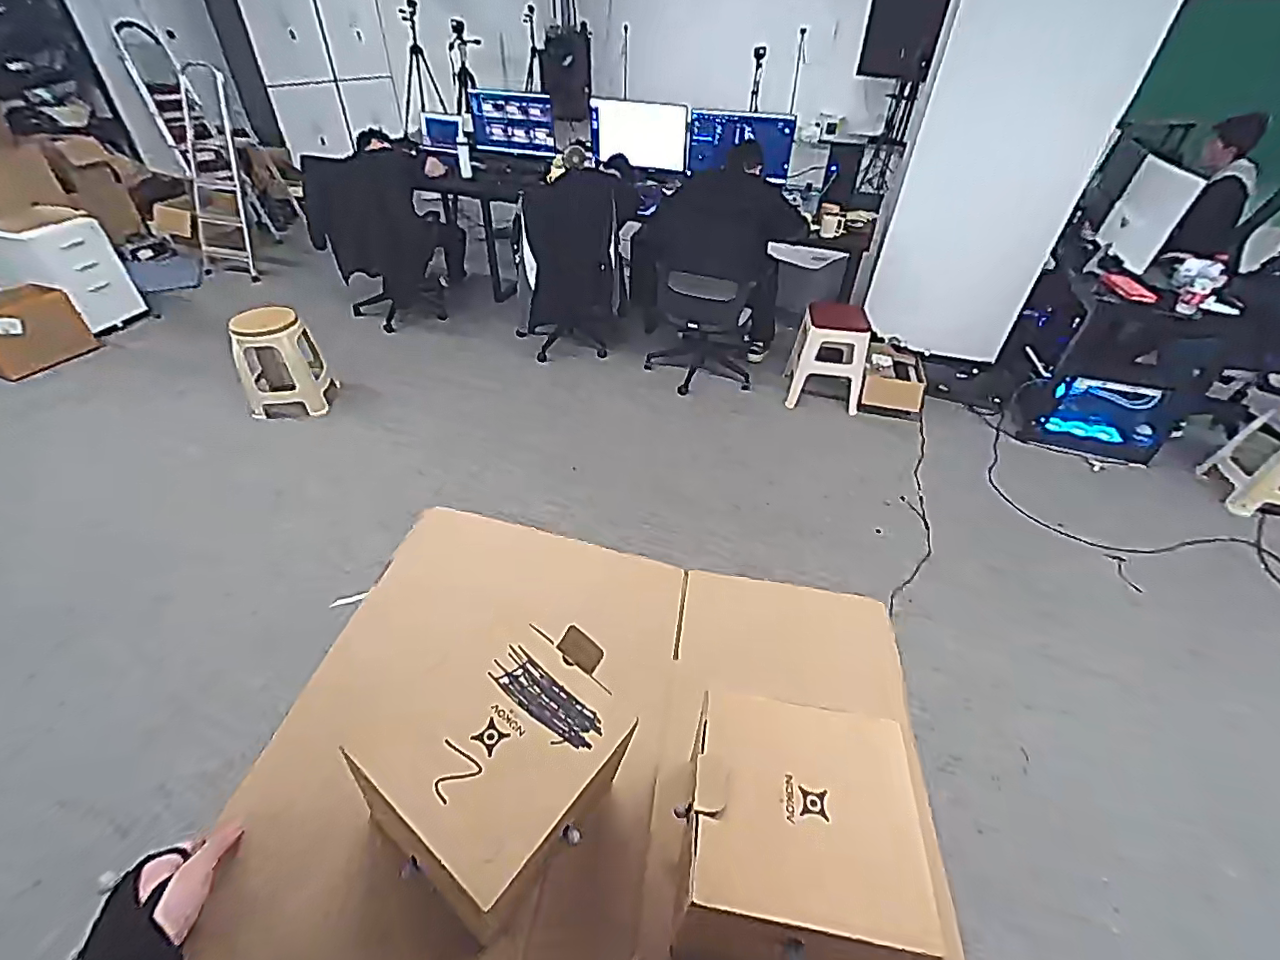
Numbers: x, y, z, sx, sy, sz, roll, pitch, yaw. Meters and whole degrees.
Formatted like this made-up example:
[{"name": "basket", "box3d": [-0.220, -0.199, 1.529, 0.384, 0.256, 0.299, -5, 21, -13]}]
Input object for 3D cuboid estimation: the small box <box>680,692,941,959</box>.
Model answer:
[{"name": "small box", "box3d": [0.137, 0.325, 0.498, 0.179, 0.176, 0.168, 7, 40, 6]}]
